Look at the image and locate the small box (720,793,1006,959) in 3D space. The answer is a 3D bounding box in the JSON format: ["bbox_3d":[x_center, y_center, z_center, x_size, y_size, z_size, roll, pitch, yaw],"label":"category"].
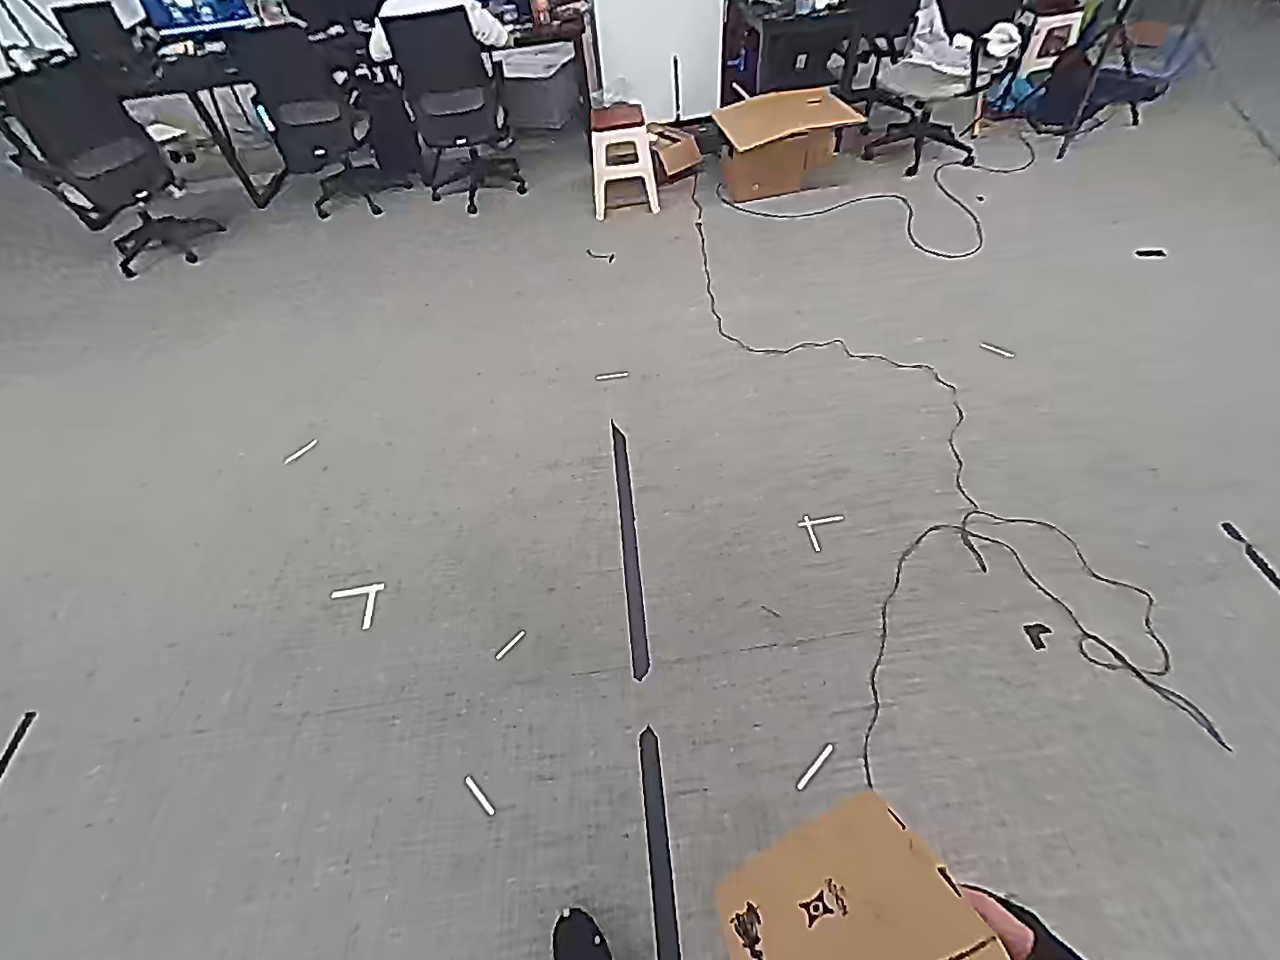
[{"bbox_3d":[0.192,0.411,0.435,0.179,0.168,0.176,-29,91,-3],"label":"small box"}]
